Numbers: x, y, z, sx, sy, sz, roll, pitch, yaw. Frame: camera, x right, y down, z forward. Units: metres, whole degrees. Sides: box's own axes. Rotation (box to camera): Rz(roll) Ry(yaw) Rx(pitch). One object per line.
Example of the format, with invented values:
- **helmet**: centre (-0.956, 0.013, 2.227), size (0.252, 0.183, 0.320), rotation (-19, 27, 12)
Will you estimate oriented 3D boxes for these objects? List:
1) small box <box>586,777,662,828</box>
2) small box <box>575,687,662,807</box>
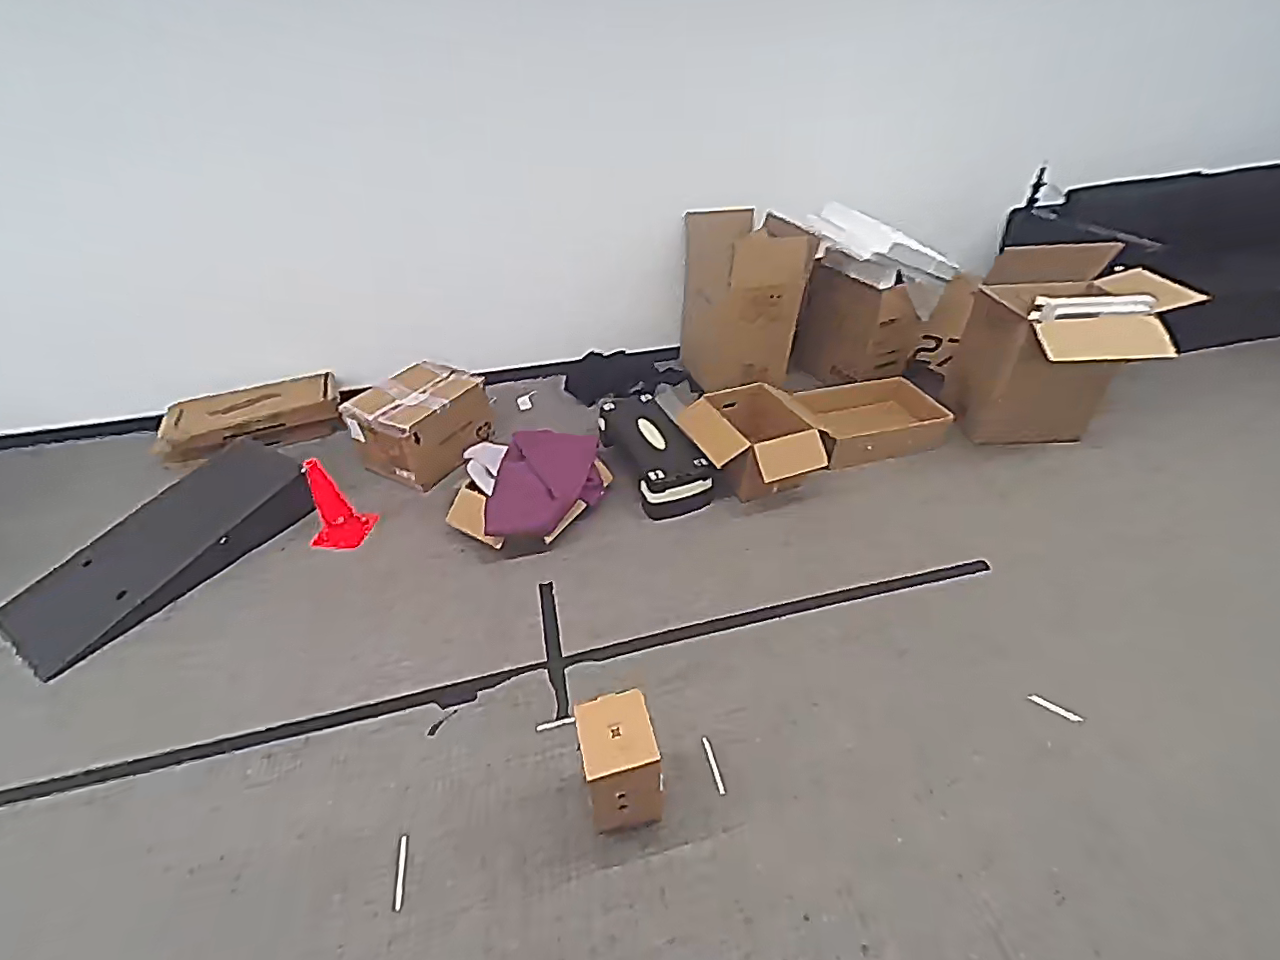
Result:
- **small box**: centre (-0.045, 0.748, 1.363), size (0.179, 0.176, 0.168), rotation (-7, 40, -9)
- **small box**: centre (-0.052, 0.623, 1.261), size (0.168, 0.176, 0.179), rotation (-12, 42, -11)
